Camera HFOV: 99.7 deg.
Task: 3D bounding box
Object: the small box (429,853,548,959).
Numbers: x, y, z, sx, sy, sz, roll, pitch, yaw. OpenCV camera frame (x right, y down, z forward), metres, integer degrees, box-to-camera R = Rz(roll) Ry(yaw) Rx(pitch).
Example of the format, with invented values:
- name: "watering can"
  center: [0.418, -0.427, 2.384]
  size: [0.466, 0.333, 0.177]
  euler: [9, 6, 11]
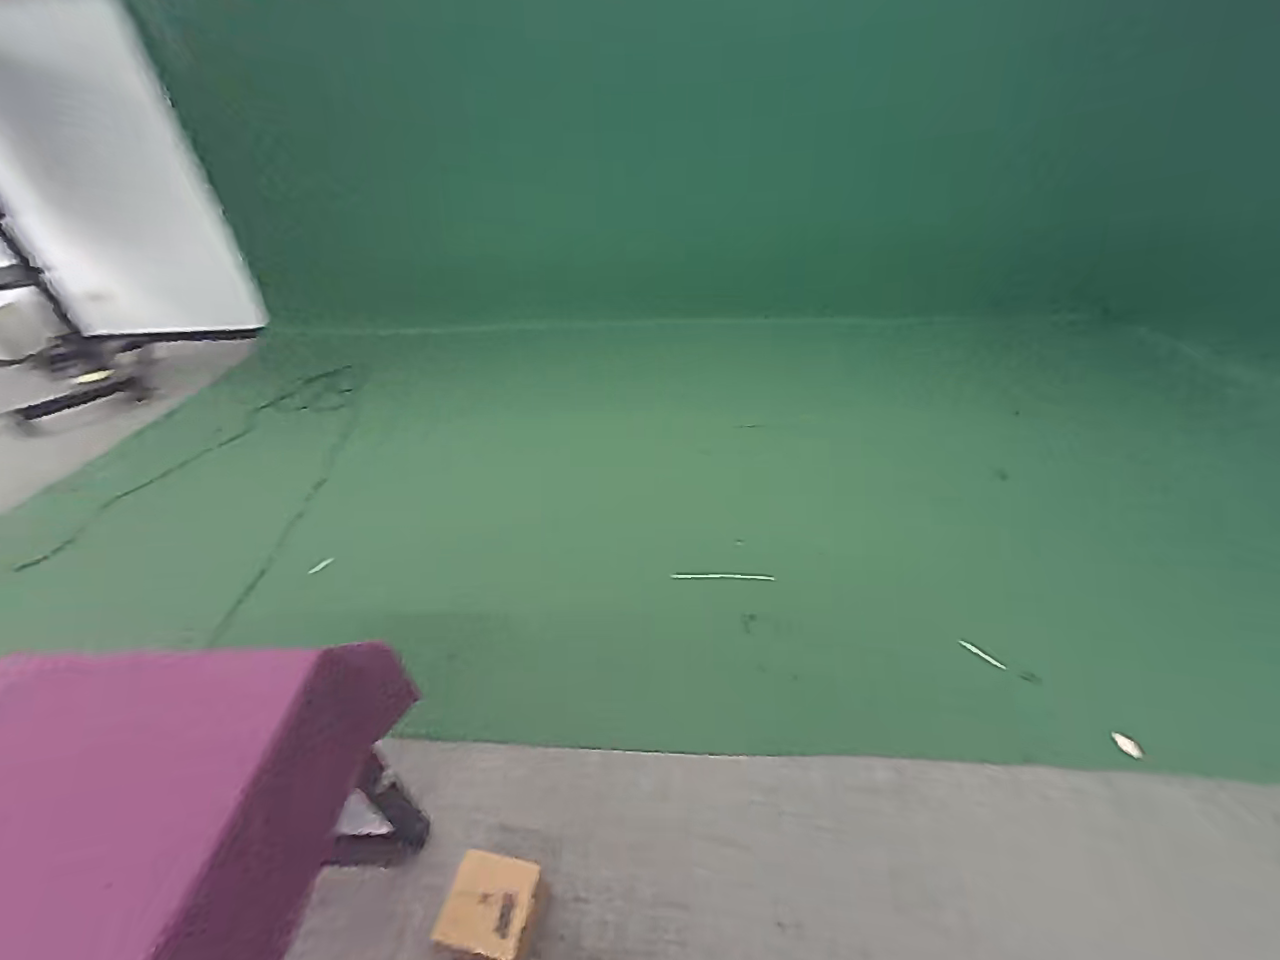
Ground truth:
- name: "small box"
  center: [-0.313, 0.944, 1.164]
  size: [0.179, 0.176, 0.168]
  euler: [4, 37, 12]
